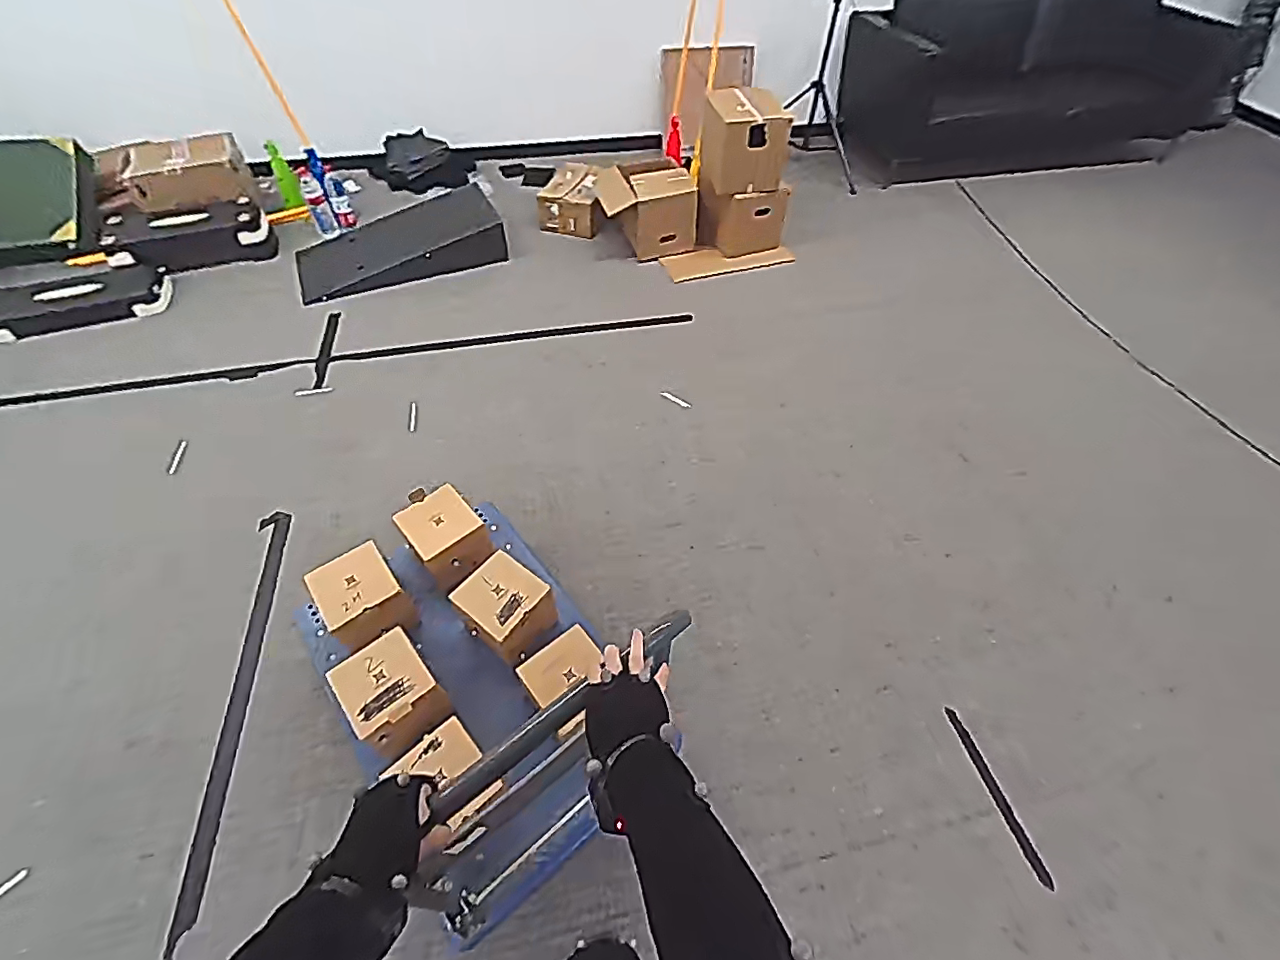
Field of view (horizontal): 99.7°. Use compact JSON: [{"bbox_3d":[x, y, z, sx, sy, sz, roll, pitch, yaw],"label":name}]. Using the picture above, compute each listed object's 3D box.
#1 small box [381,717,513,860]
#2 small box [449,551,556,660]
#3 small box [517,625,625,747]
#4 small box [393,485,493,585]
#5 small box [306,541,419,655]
[{"bbox_3d":[-0.370,0.611,1.067,0.168,0.176,0.179,-35,61,-27],"label":"small box"},{"bbox_3d":[-0.323,0.311,1.308,0.179,0.176,0.168,32,57,22],"label":"small box"},{"bbox_3d":[-0.146,0.462,1.196,0.168,0.176,0.179,-32,59,-25],"label":"small box"},{"bbox_3d":[-0.511,0.153,1.425,0.168,0.176,0.179,-36,61,-26],"label":"small box"},{"bbox_3d":[-0.665,0.288,1.309,0.168,0.176,0.179,-31,60,-24],"label":"small box"}]
